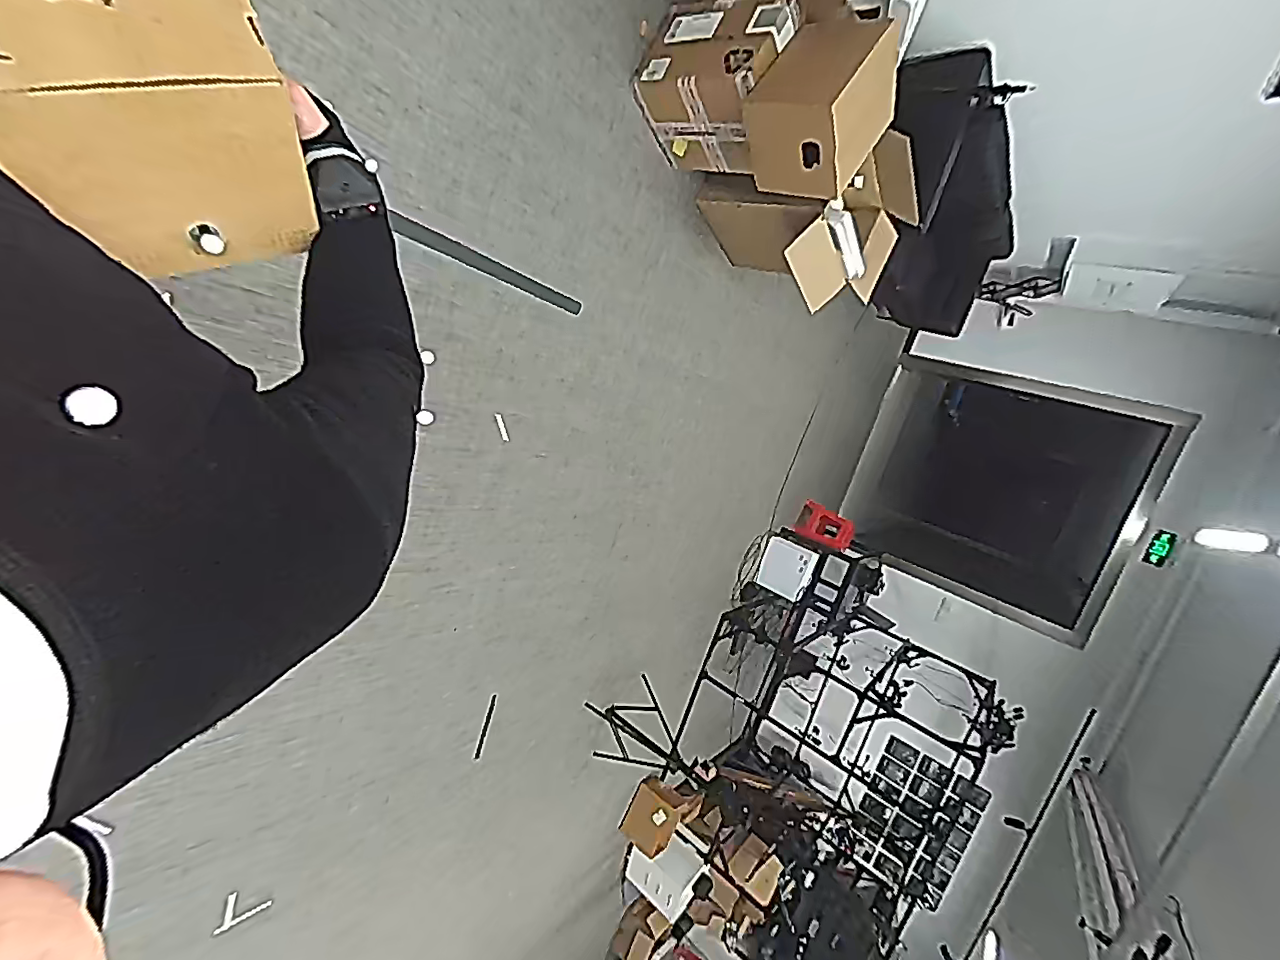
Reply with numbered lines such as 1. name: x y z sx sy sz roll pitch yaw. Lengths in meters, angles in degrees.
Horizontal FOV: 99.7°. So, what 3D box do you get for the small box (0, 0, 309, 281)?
1. small box: -0.392 -0.291 0.434 0.179 0.168 0.176 -26 171 -28
